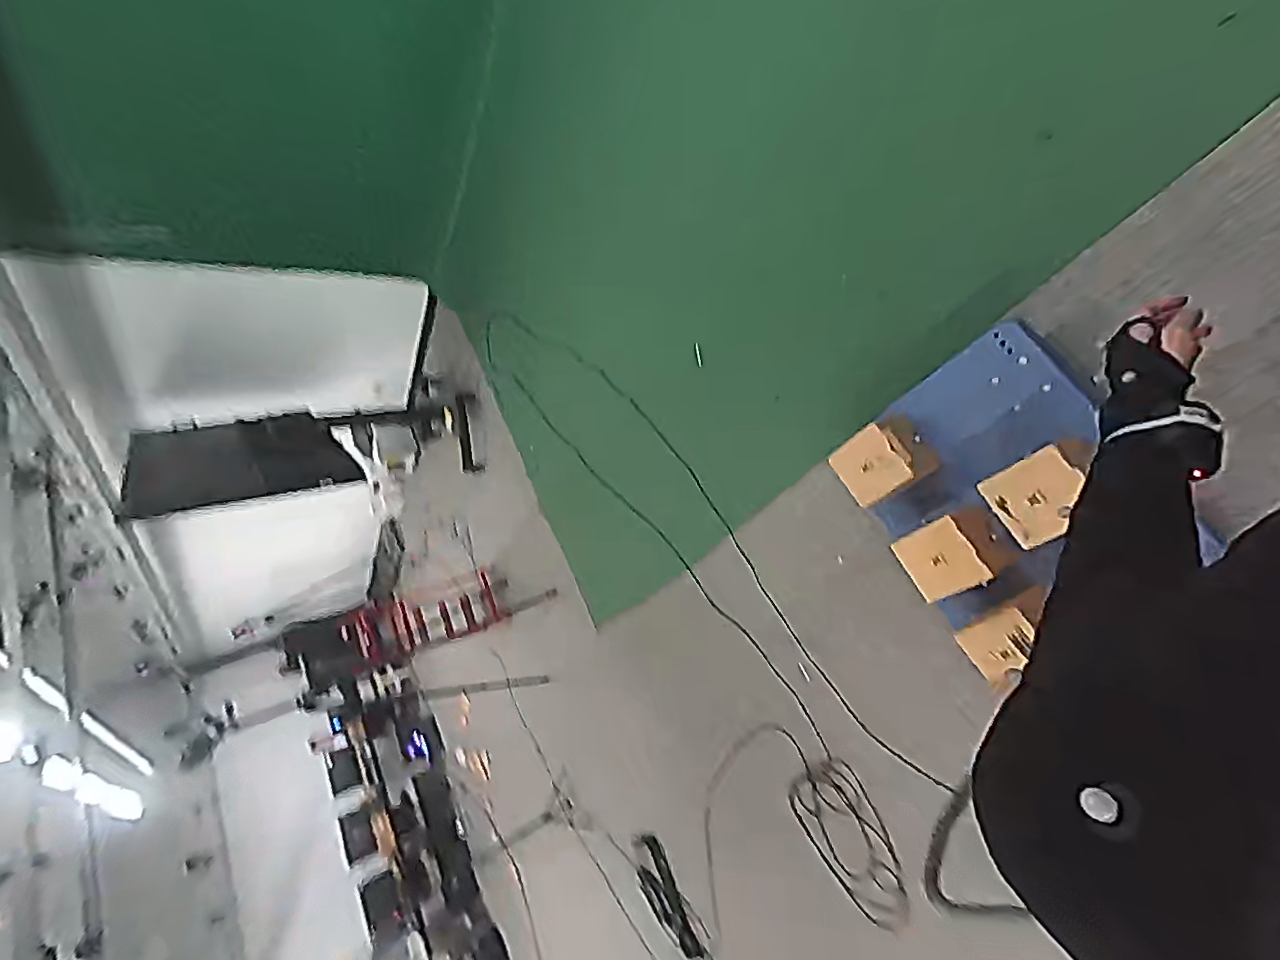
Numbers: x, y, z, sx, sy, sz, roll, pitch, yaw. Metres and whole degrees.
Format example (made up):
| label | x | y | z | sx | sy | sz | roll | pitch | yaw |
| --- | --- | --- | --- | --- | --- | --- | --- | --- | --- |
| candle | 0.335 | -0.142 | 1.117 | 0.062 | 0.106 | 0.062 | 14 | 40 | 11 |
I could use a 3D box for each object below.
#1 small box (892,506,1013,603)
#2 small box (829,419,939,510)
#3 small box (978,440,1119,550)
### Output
| label | x | y | z | sx | sy | sz | roll | pitch | yaw |
| --- | --- | --- | --- | --- | --- | --- | --- | --- | --- |
| small box | 0.788 | 0.186 | 1.363 | 0.179 | 0.176 | 0.168 | -48 | 63 | 45 |
| small box | 0.657 | -0.044 | 1.457 | 0.168 | 0.176 | 0.179 | 60 | 139 | 19 |
| small box | 0.895 | 0.028 | 1.179 | 0.179 | 0.176 | 0.168 | -48 | 62 | 46 |
